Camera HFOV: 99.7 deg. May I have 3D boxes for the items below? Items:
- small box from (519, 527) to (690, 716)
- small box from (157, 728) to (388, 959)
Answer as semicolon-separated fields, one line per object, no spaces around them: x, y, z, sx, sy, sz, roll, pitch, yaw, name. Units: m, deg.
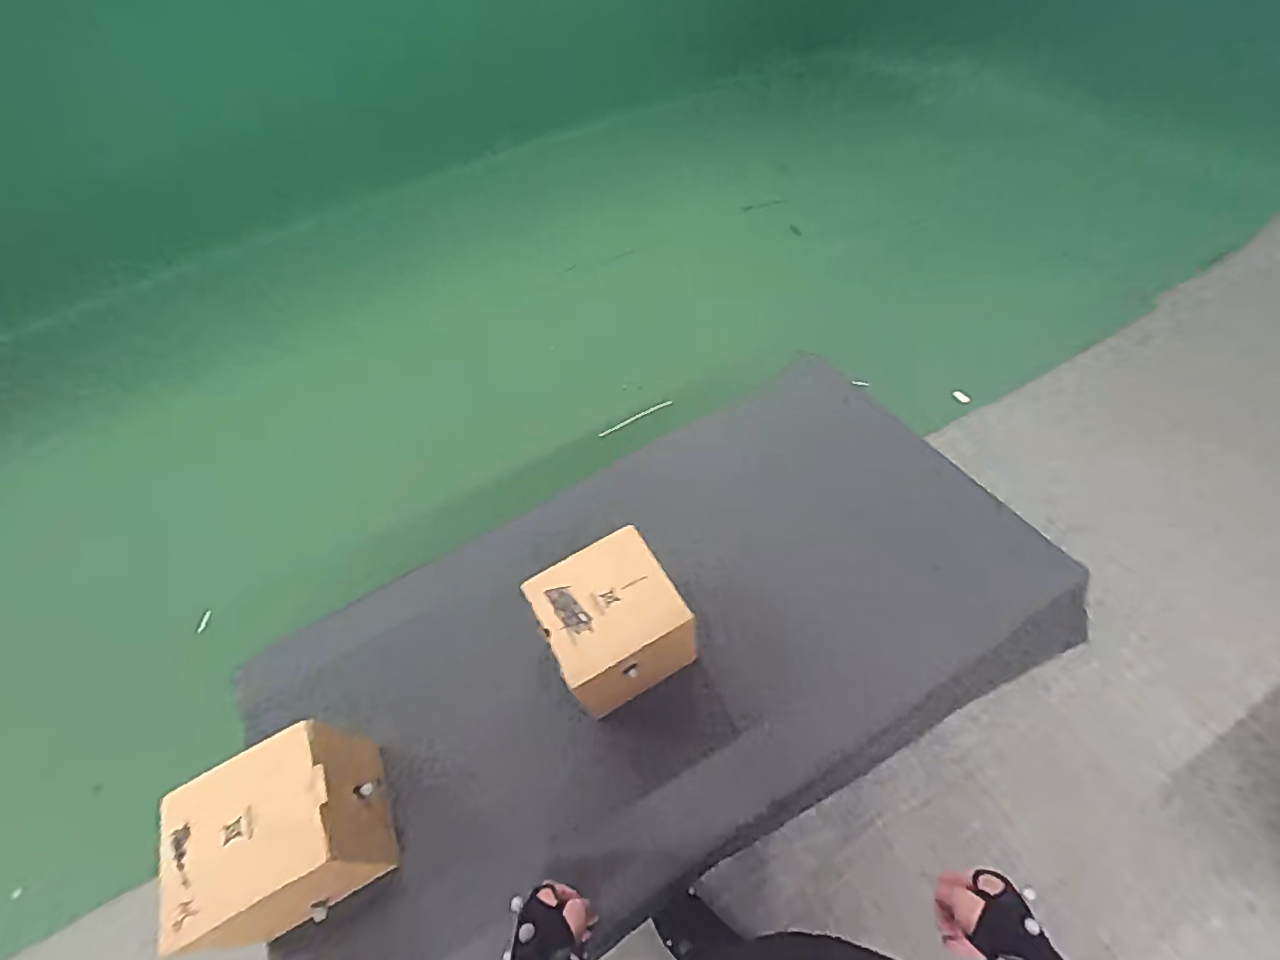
-0.042;0.205;0.767;0.179;0.176;0.168;-28;56;-12;small box
-0.433;0.439;0.663;0.179;0.176;0.168;-27;55;-11;small box
